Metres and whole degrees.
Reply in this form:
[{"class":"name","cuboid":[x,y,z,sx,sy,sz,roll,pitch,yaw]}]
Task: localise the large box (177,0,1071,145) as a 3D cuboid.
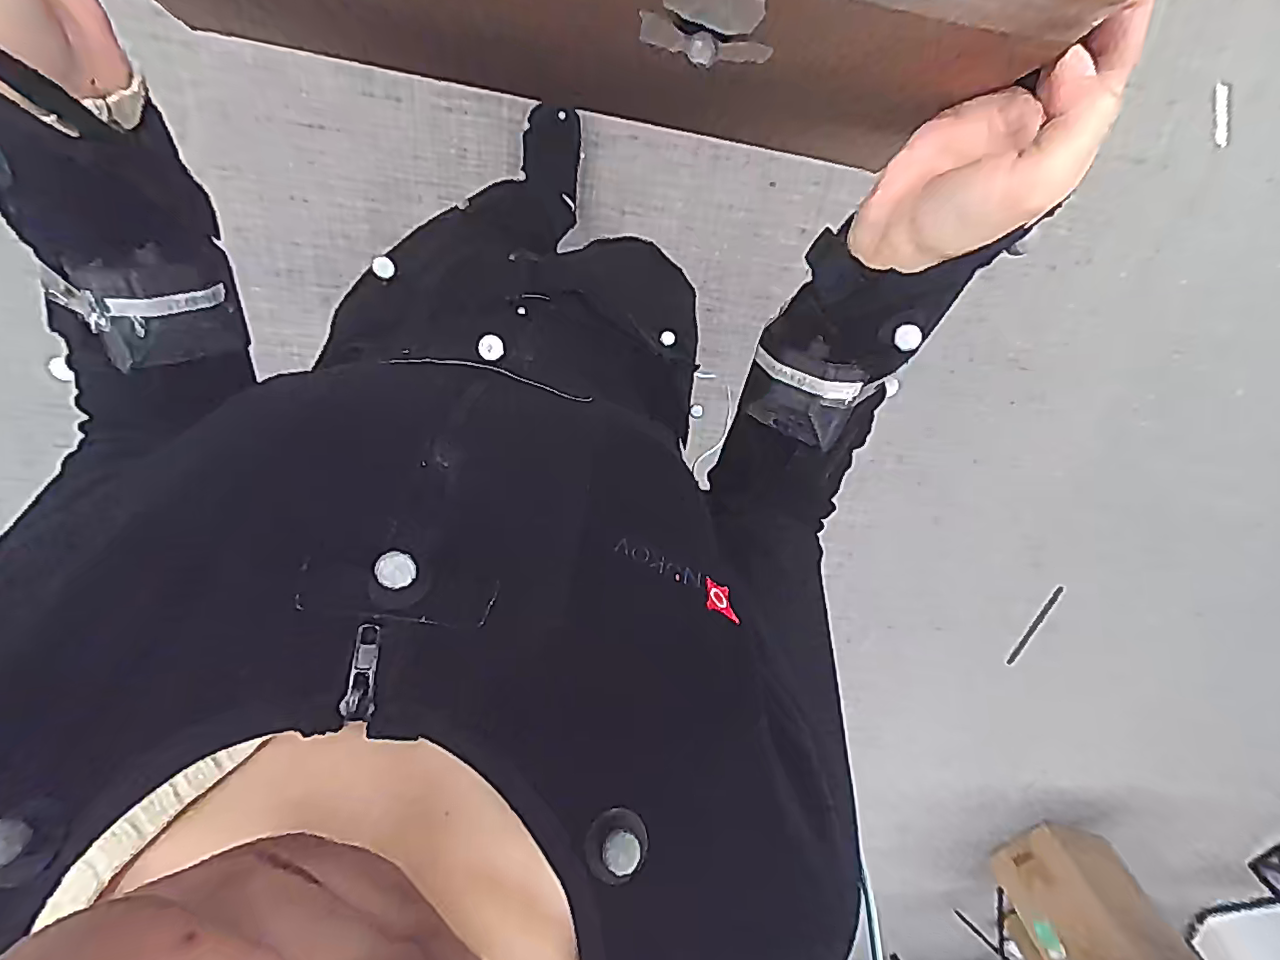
[{"class":"large box","cuboid":[-0.015,-0.347,0.143,0.408,0.320,0.320,6,103,-7]}]
